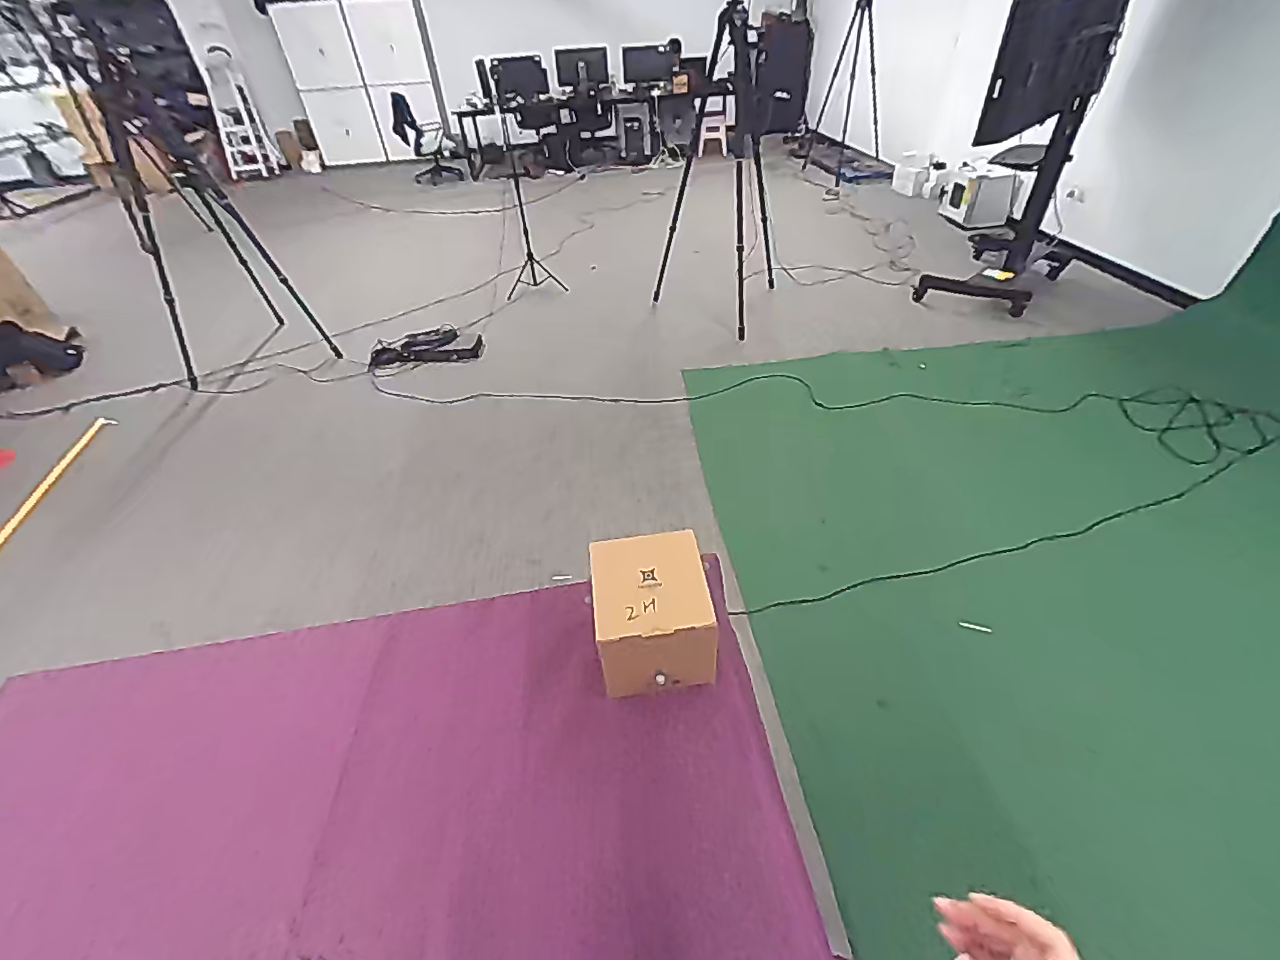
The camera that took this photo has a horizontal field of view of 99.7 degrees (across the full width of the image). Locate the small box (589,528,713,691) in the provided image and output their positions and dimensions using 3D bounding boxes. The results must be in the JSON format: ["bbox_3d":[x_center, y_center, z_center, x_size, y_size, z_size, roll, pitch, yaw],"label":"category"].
[{"bbox_3d":[0.014,0.200,0.840,0.168,0.176,0.179,-8,44,-2],"label":"small box"}]
